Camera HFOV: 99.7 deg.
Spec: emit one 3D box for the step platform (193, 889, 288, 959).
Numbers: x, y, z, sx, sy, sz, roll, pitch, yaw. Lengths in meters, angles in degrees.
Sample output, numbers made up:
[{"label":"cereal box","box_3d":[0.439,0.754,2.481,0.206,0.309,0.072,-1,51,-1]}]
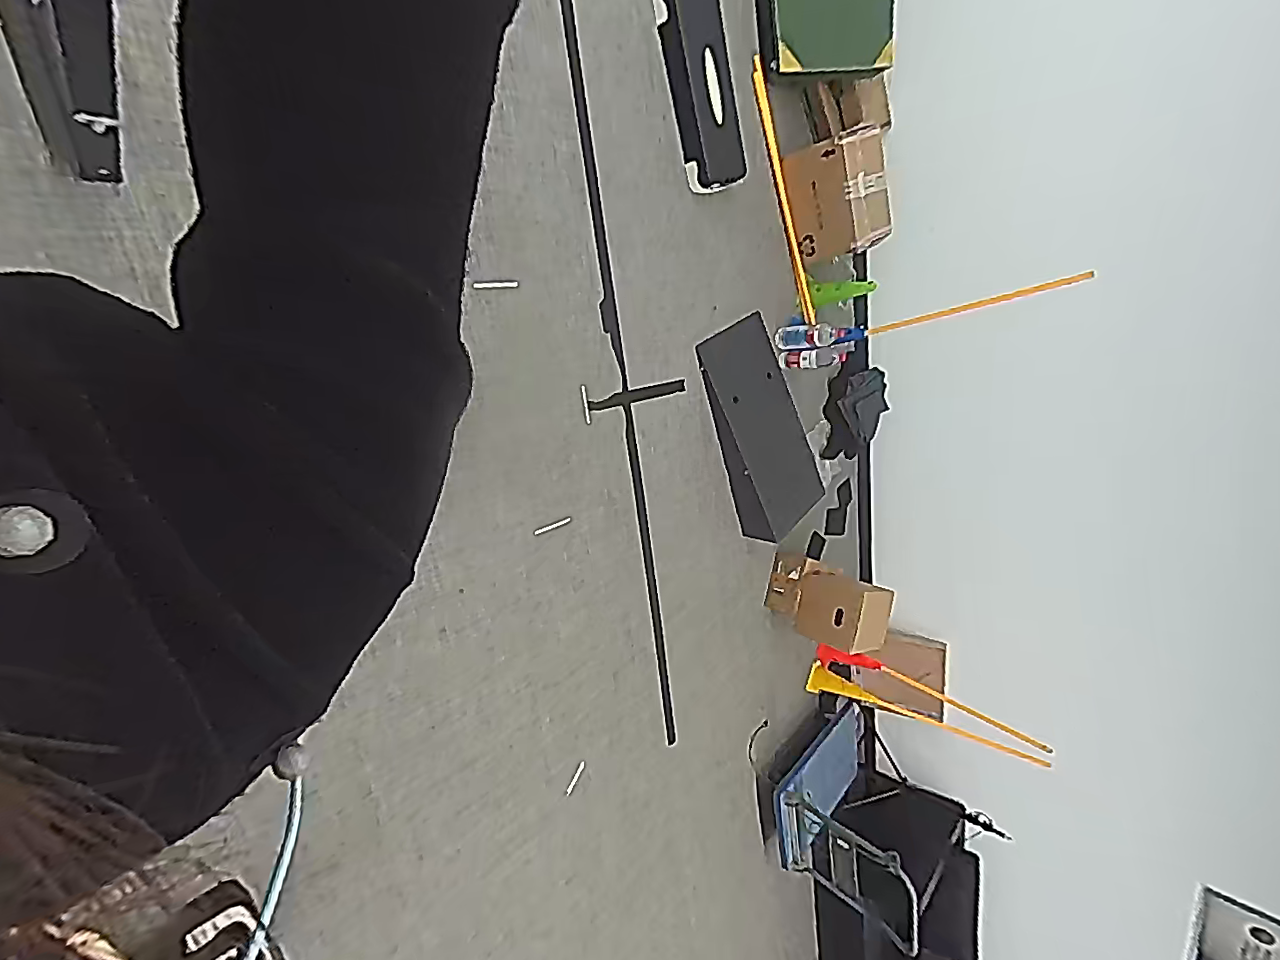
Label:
[{"label":"step platform","box_3d":[-1.111,1.201,1.091,0.684,0.204,0.286,-13,105,-43]}]
